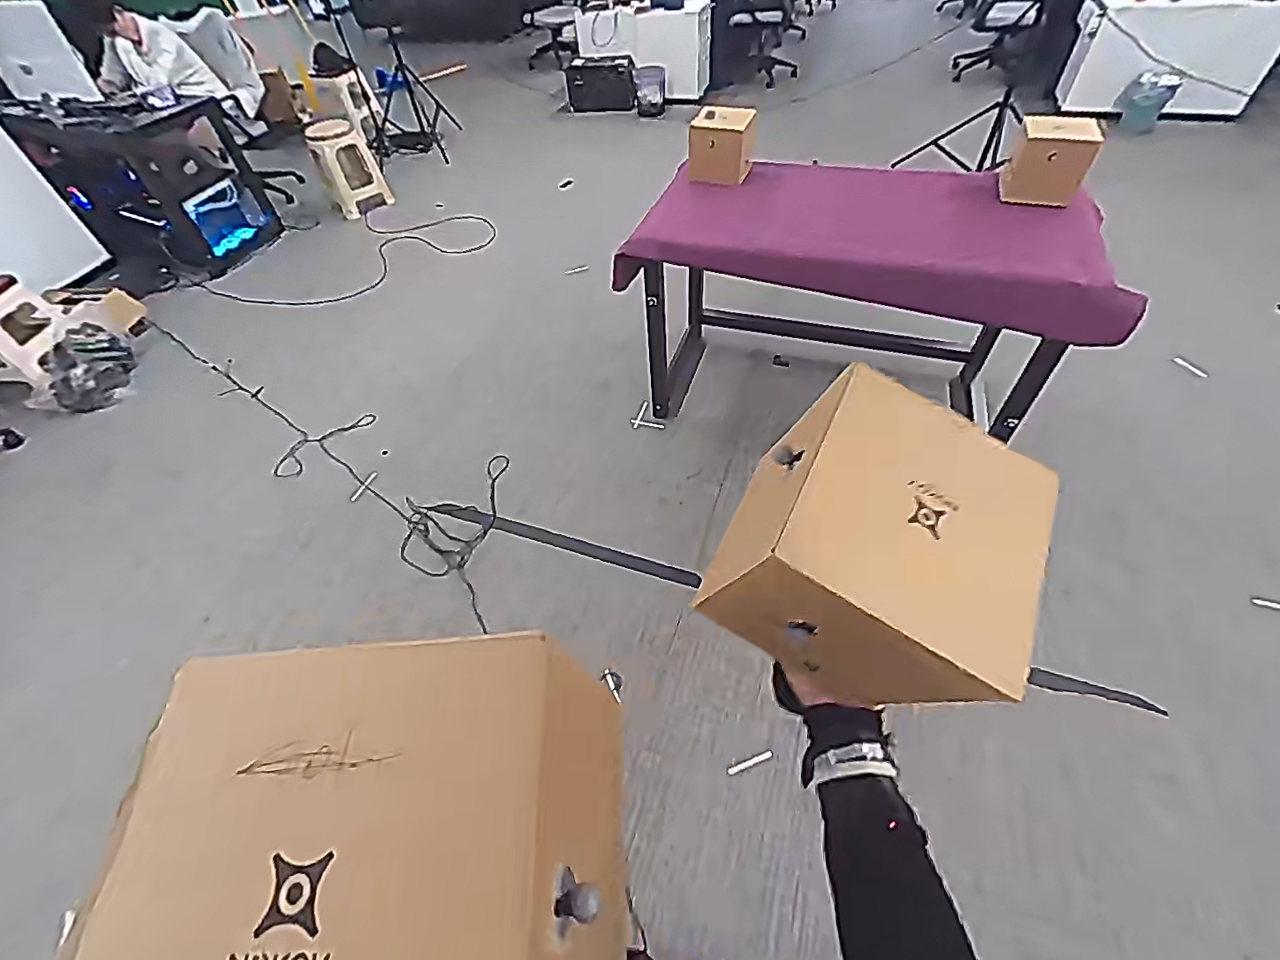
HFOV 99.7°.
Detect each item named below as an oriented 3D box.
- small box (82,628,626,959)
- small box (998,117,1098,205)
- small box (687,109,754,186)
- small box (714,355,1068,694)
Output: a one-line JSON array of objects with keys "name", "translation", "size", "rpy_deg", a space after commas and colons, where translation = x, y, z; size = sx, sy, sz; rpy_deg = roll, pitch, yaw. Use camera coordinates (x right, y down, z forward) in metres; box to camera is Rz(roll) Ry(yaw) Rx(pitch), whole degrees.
[{"name": "small box", "translation": [-0.101, 0.186, 0.256], "size": [0.168, 0.176, 0.179], "rpy_deg": [-8, 57, 5]}, {"name": "small box", "translation": [1.134, -0.896, 1.523], "size": [0.179, 0.176, 0.168], "rpy_deg": [14, 54, 15]}, {"name": "small box", "translation": [0.258, -1.077, 1.753], "size": [0.179, 0.176, 0.168], "rpy_deg": [16, 55, 16]}, {"name": "small box", "translation": [0.174, 0.047, 0.419], "size": [0.168, 0.176, 0.179], "rpy_deg": [31, 64, 2]}]
